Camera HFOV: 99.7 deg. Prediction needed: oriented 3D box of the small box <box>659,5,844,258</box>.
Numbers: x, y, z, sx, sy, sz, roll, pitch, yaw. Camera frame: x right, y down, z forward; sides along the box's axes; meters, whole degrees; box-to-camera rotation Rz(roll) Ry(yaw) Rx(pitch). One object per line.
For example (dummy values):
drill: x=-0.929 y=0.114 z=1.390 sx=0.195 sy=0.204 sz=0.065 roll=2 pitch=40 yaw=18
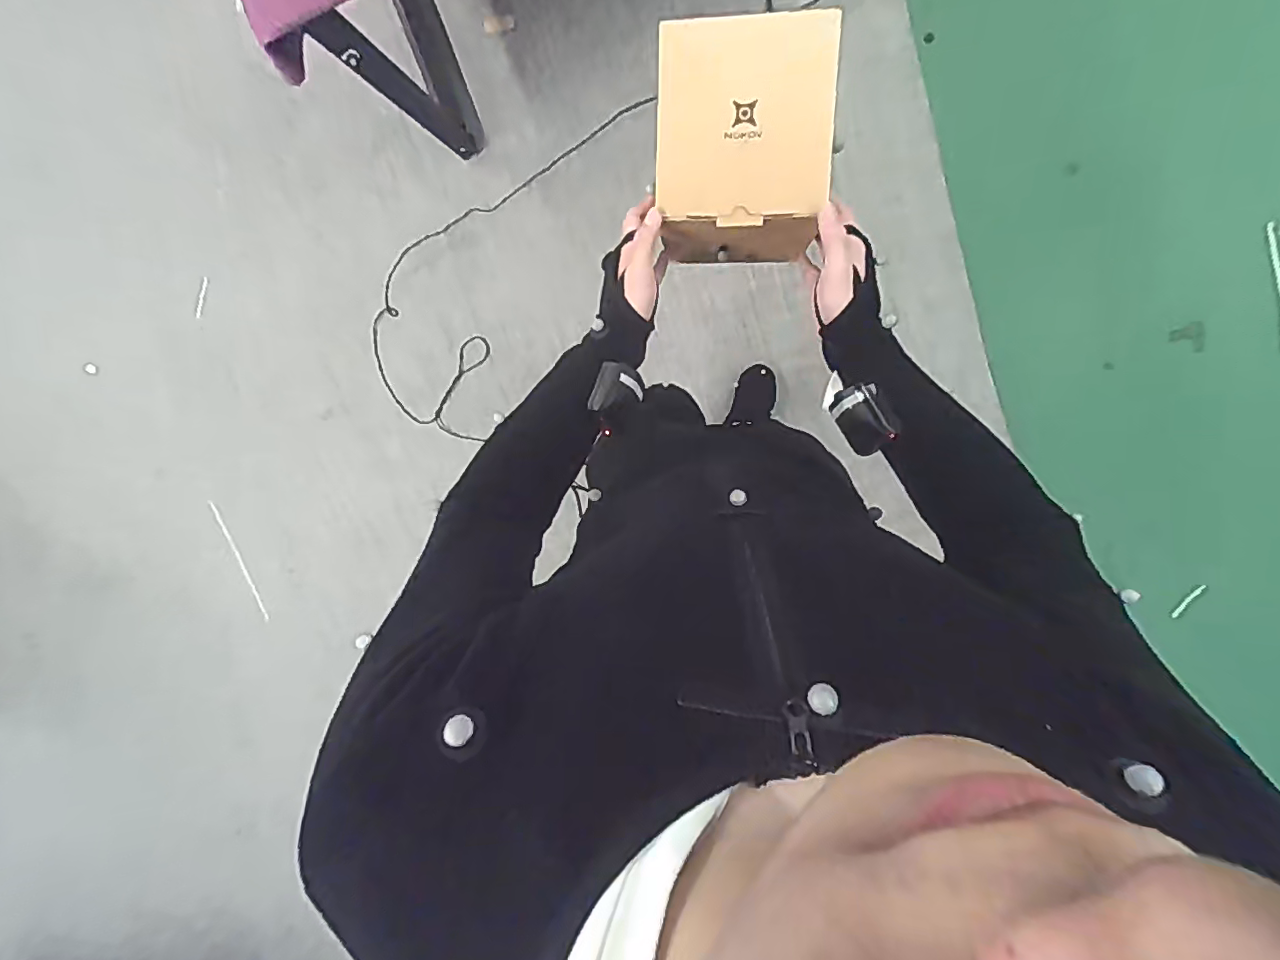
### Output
small box: x=0.108 y=-0.350 z=0.578 sx=0.168 sy=0.176 sz=0.179 roll=1 pitch=100 yaw=7
